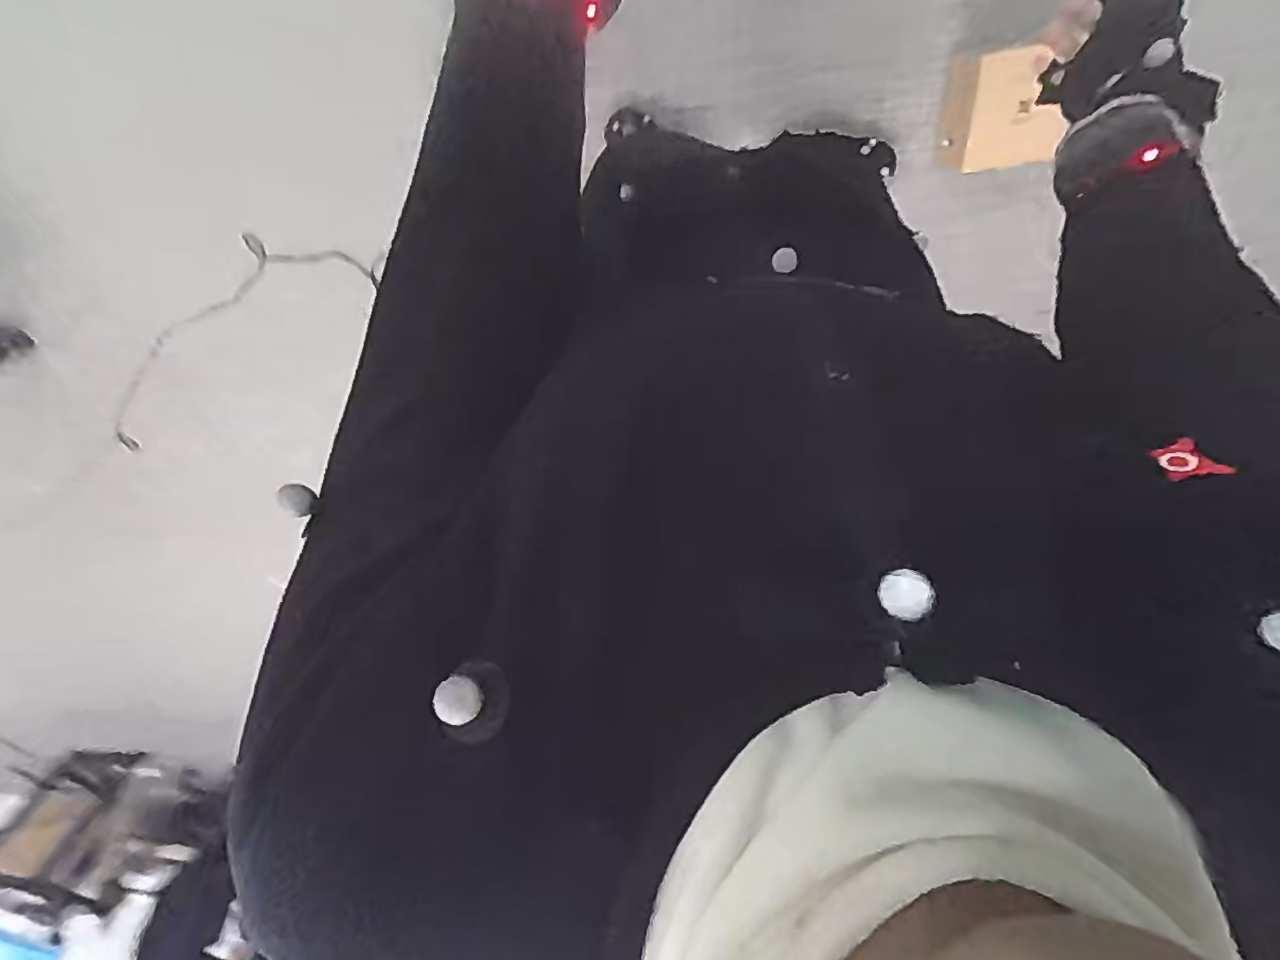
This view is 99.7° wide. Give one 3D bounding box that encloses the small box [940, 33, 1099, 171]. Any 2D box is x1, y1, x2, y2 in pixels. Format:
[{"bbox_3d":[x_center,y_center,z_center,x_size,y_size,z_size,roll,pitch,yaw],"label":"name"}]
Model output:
[{"bbox_3d":[0.665,-0.681,0.977,0.168,0.176,0.179,-4,126,10],"label":"small box"}]
